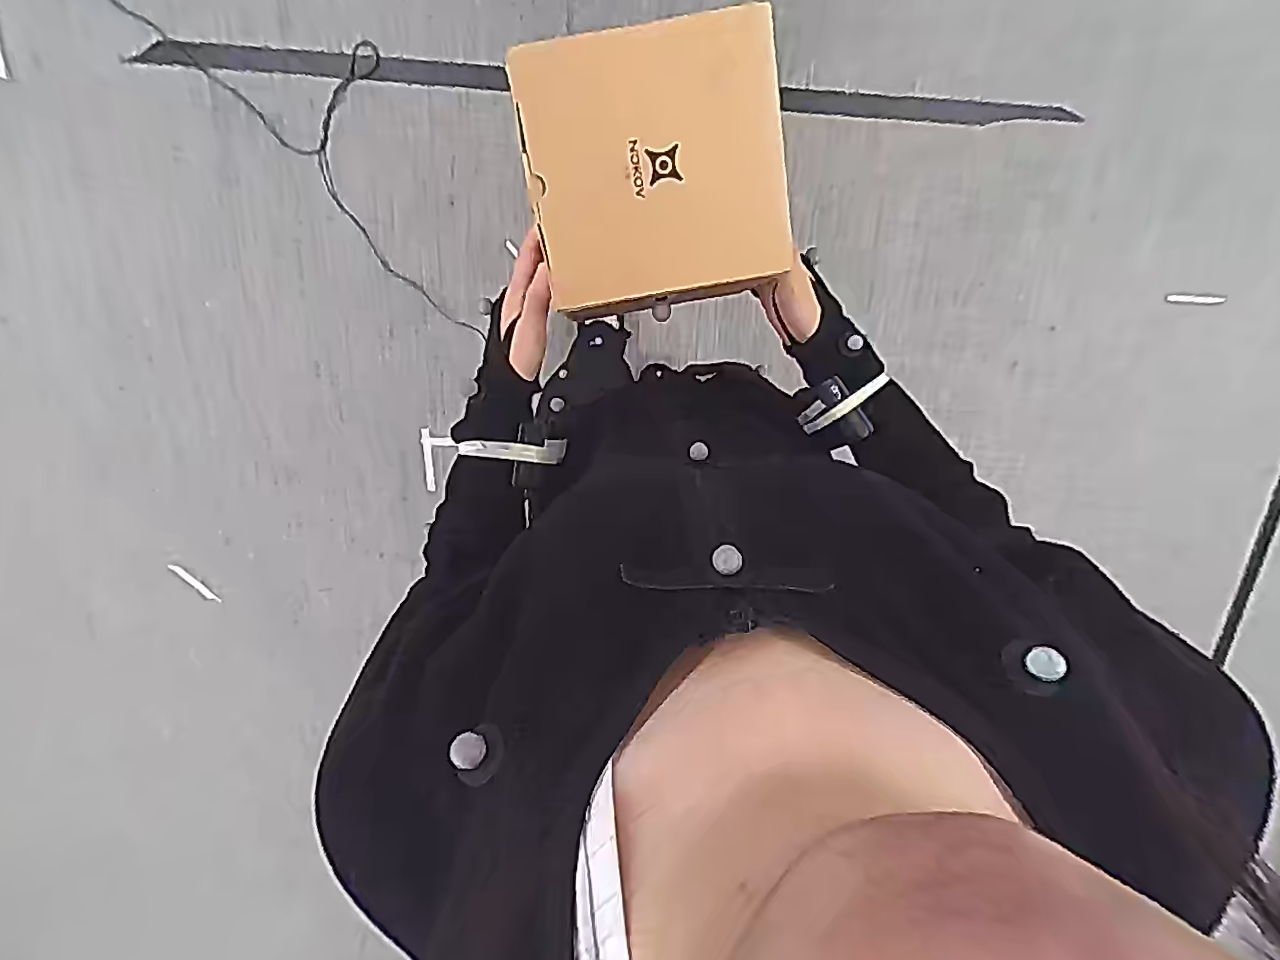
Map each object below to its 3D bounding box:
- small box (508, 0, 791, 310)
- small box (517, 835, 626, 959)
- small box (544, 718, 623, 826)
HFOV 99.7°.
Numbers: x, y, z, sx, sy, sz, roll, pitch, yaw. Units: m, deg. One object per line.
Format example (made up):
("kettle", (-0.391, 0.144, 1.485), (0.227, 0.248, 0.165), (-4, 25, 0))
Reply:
("small box", (0.009, -0.239, 0.444), (0.179, 0.176, 0.168), (-9, 105, 2))
("small box", (-0.120, 0.783, 0.983), (0.179, 0.176, 0.168), (5, 105, -3))
("small box", (-0.131, 0.695, 1.300), (0.179, 0.176, 0.168), (1, 104, -1))
